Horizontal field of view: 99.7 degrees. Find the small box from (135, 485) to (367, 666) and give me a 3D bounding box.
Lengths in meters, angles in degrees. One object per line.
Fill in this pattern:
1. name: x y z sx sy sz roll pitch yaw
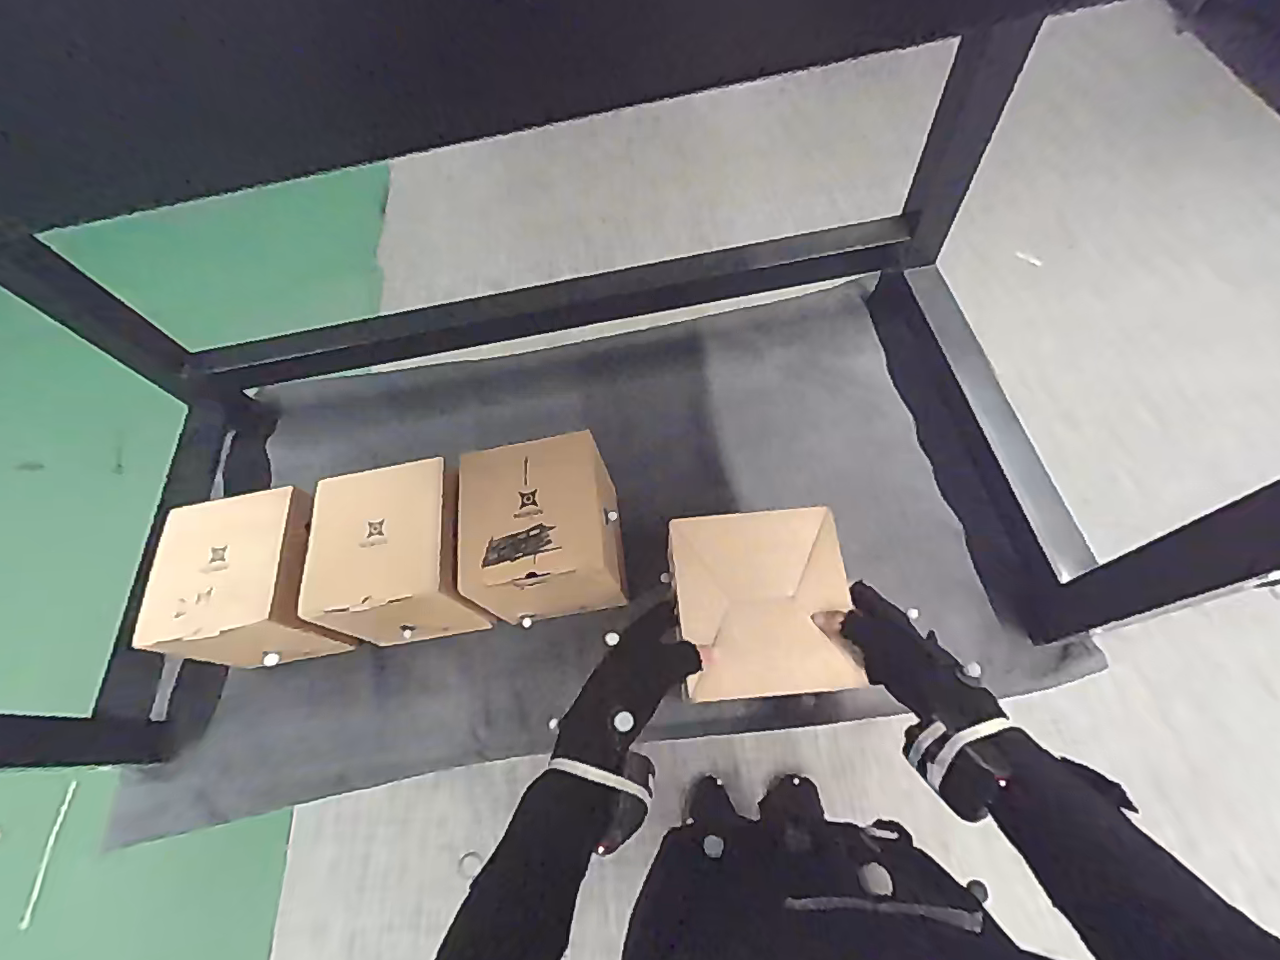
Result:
1. small box: -0.485 0.131 0.709 0.168 0.176 0.179 -11 62 4
